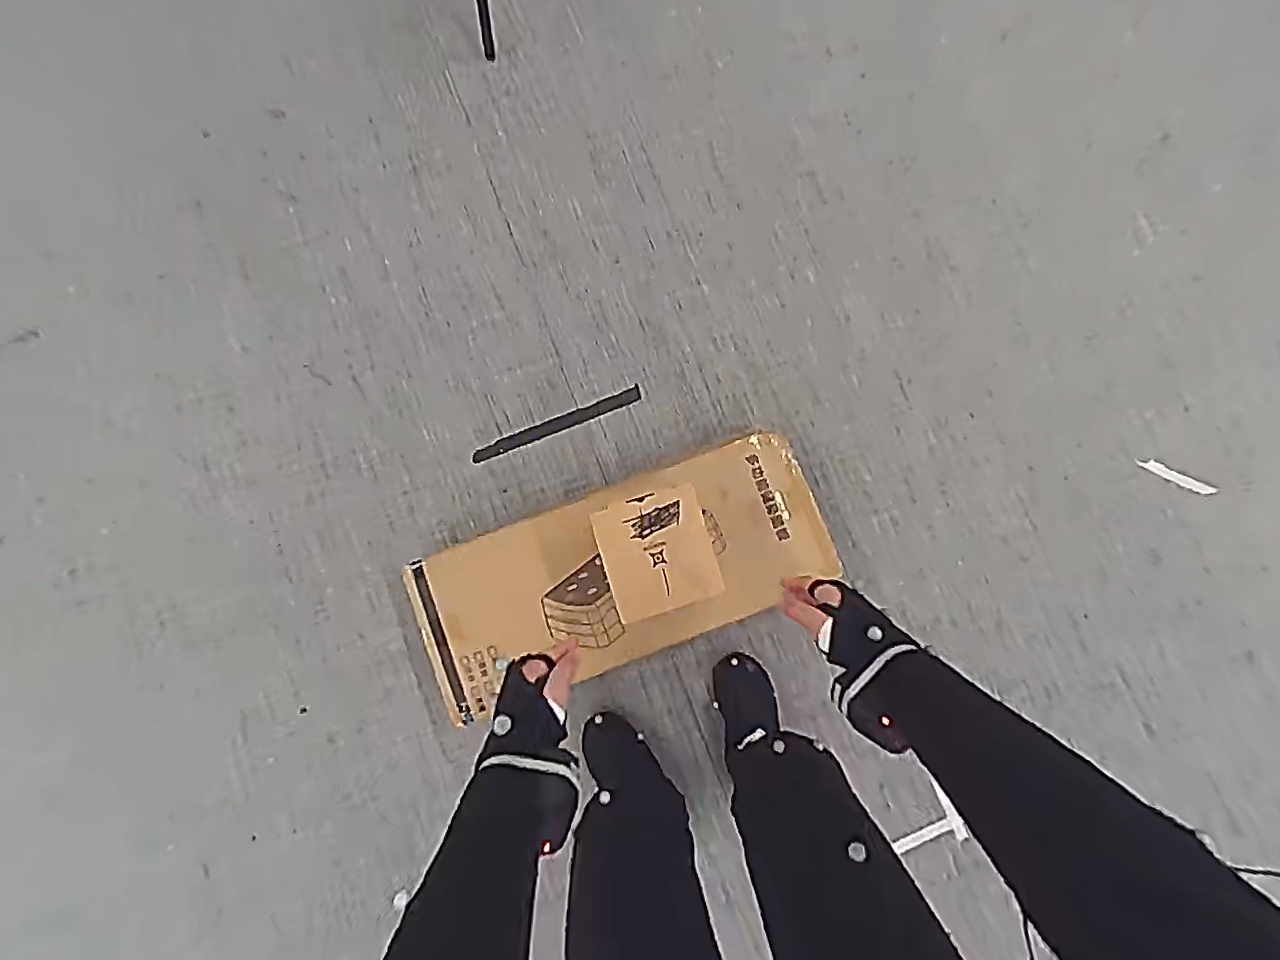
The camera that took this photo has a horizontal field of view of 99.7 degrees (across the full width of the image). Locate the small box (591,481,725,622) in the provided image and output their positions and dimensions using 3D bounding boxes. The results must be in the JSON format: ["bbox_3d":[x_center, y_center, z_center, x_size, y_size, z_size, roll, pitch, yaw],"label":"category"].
[{"bbox_3d":[0.025,0.115,0.885,0.168,0.176,0.179,-17,85,-2],"label":"small box"}]
